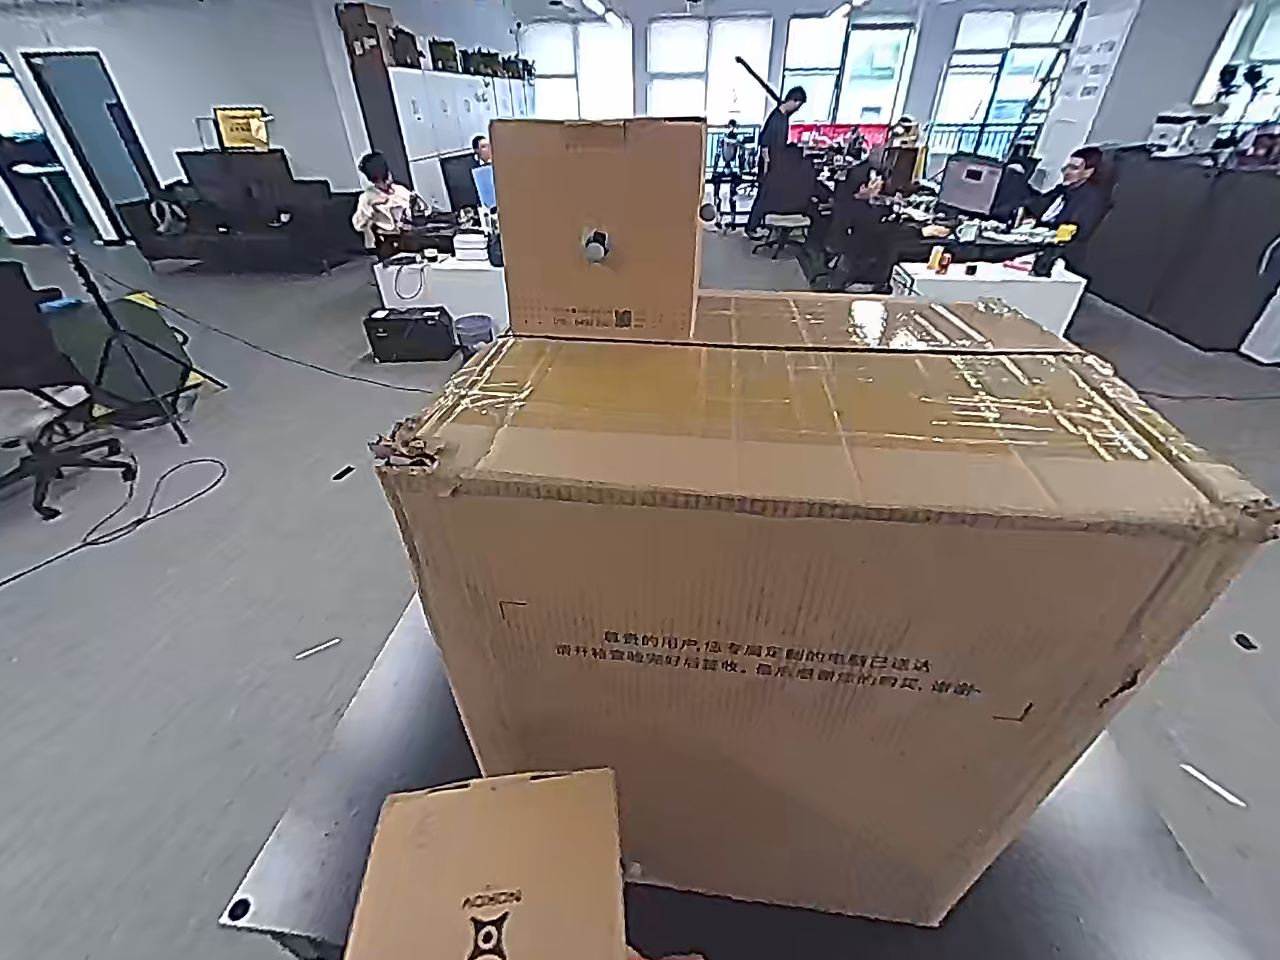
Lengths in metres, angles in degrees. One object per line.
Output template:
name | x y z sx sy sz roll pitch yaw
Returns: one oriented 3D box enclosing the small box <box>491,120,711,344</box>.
small box | -0.022 -0.236 0.510 0.168 0.176 0.179 4 34 5
